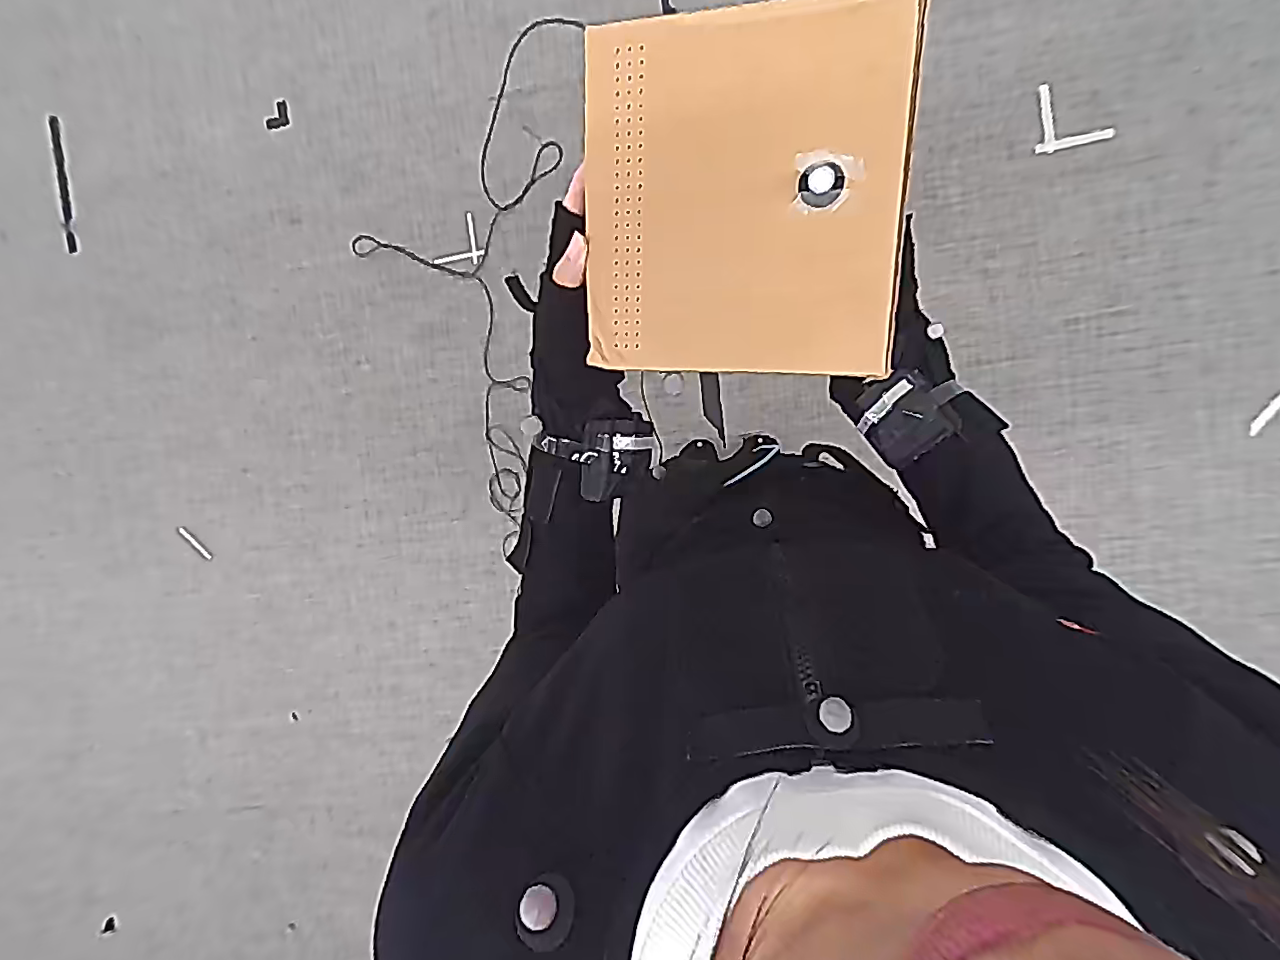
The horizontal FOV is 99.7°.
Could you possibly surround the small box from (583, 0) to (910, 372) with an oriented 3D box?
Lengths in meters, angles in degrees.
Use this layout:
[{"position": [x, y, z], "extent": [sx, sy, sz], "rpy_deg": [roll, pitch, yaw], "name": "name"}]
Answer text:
[{"position": [0.066, -0.163, 0.365], "extent": [0.176, 0.168, 0.179], "rpy_deg": [5, 103, 16], "name": "small box"}]
